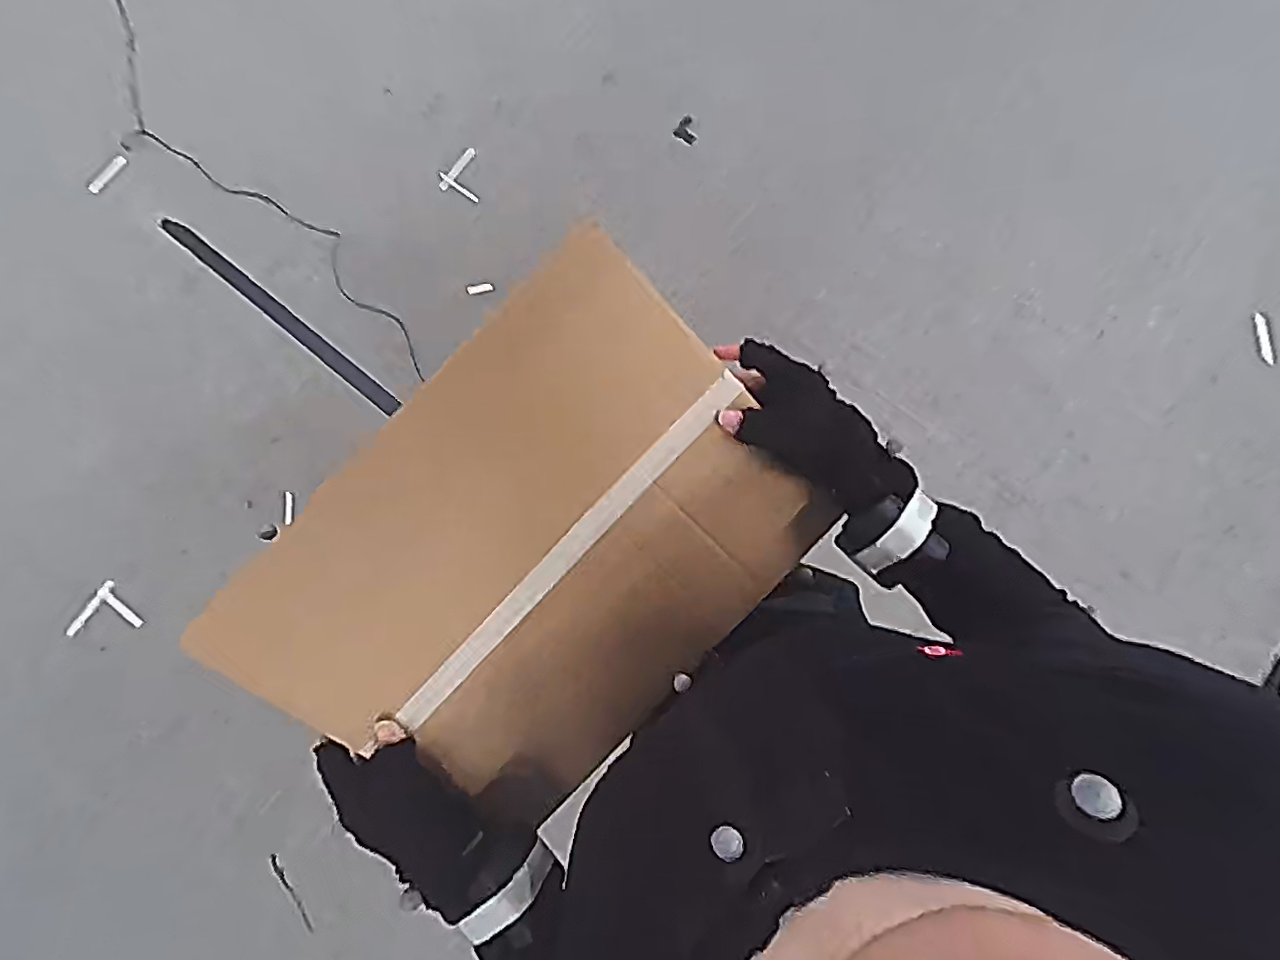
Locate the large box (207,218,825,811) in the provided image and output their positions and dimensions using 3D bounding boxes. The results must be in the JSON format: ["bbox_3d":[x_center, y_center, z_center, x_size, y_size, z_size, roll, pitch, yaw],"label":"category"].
[{"bbox_3d":[-0.108,0.022,0.570,0.408,0.320,0.320,-46,110,0],"label":"large box"}]
